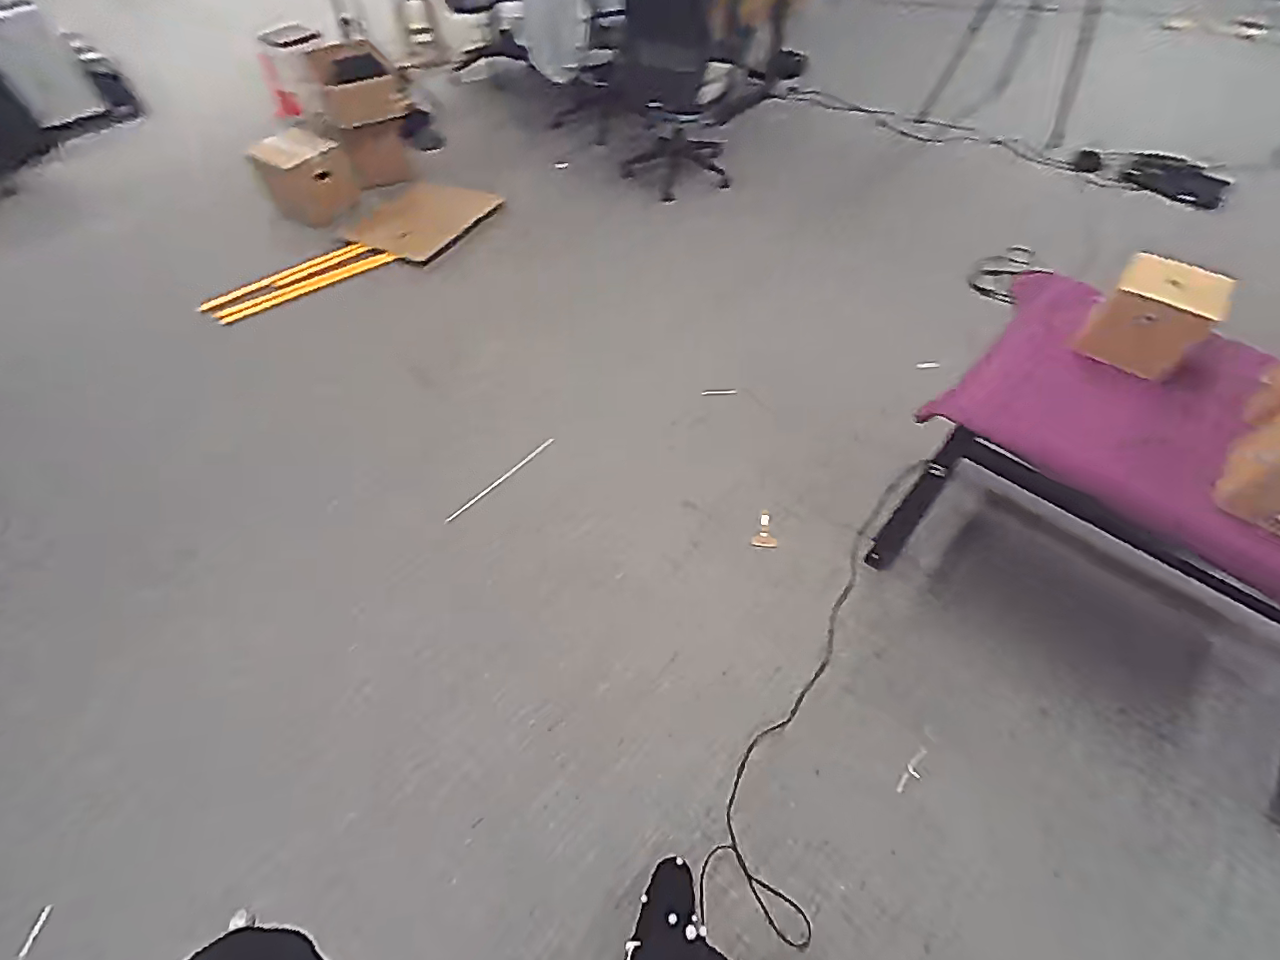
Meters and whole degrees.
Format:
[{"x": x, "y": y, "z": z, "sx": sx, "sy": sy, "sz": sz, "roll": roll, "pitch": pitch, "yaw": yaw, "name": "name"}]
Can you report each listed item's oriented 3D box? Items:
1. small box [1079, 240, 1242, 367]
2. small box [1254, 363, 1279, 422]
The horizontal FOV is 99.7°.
[{"x": 1.089, "y": -0.369, "z": 1.145, "sx": 0.179, "sy": 0.176, "sz": 0.168, "roll": 33, "pitch": 64, "yaw": 22, "name": "small box"}, {"x": 1.339, "y": -0.186, "z": 1.011, "sx": 0.179, "sy": 0.176, "sz": 0.168, "roll": 35, "pitch": 63, "yaw": 24, "name": "small box"}]
